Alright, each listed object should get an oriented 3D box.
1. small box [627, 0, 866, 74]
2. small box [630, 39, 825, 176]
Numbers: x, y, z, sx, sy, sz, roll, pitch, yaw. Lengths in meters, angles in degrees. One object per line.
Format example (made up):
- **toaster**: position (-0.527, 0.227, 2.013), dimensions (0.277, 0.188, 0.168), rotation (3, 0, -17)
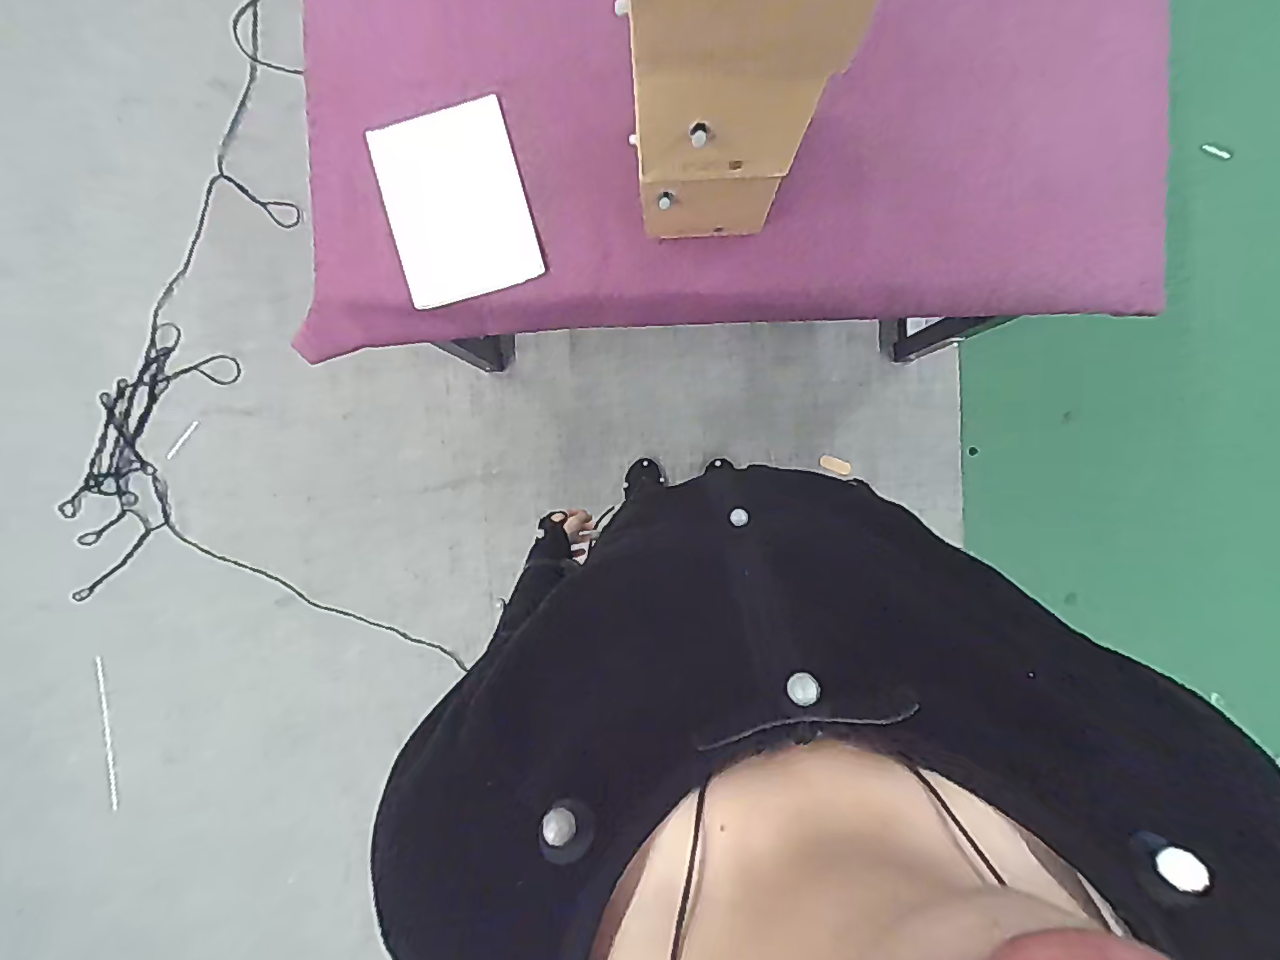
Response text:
- **small box**: position (0.079, -0.415, 0.366), dimensions (0.179, 0.176, 0.168), rotation (1, 90, 3)
- **small box**: position (0.077, -0.423, 0.531), dimensions (0.168, 0.176, 0.179), rotation (-1, 90, 2)
